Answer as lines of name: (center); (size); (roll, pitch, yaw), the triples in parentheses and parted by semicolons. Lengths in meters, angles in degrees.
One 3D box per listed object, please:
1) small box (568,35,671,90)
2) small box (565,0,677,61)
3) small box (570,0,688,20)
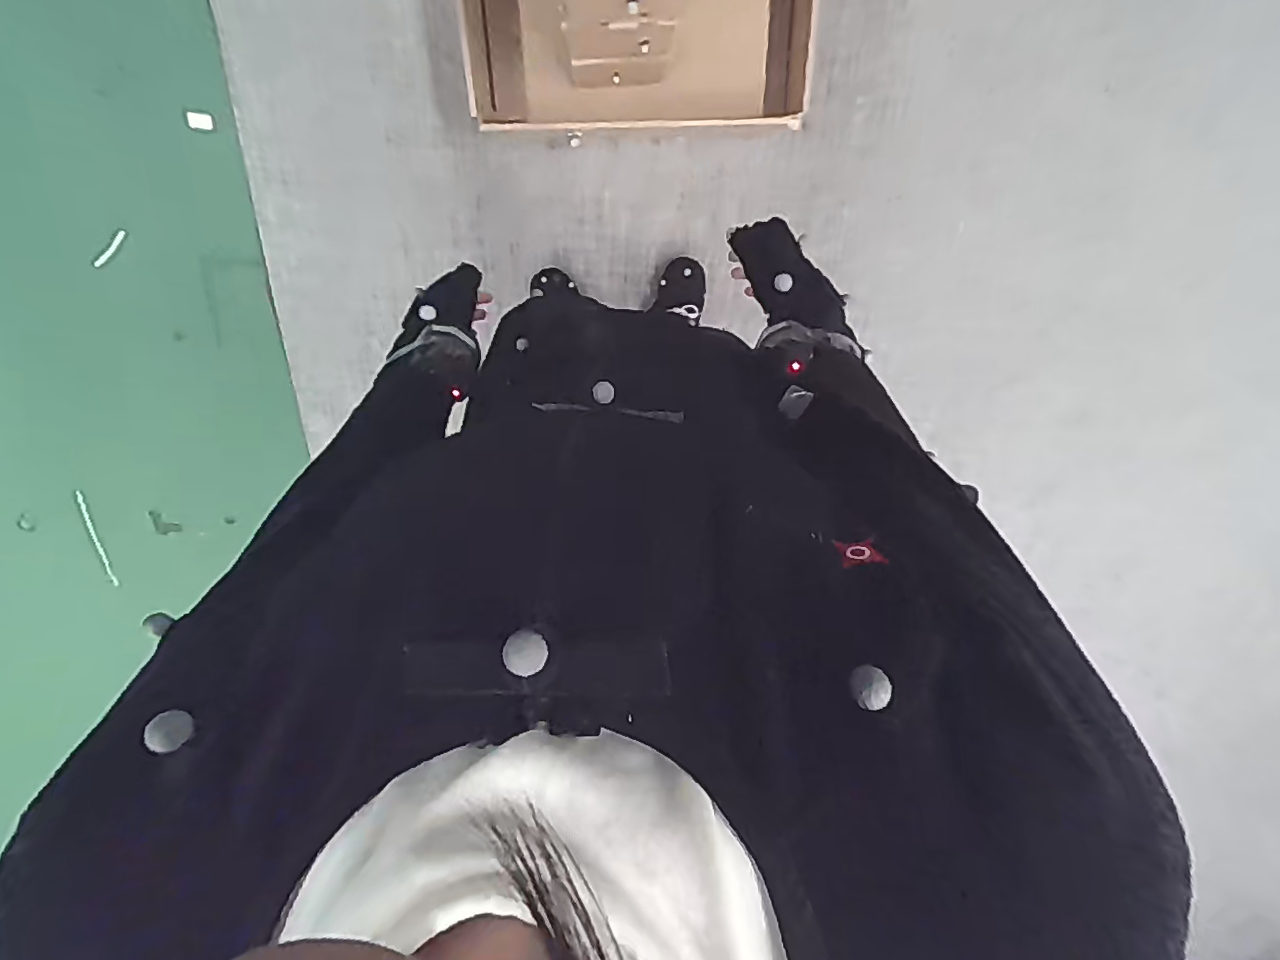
small box: (-0.038, -0.826, 0.978); (0.179, 0.176, 0.168); (-2, 114, 1)
small box: (-0.030, -0.769, 0.828); (0.168, 0.176, 0.179); (-3, 113, -3)
small box: (-0.016, -0.708, 0.676); (0.168, 0.176, 0.179); (-4, 115, -1)
